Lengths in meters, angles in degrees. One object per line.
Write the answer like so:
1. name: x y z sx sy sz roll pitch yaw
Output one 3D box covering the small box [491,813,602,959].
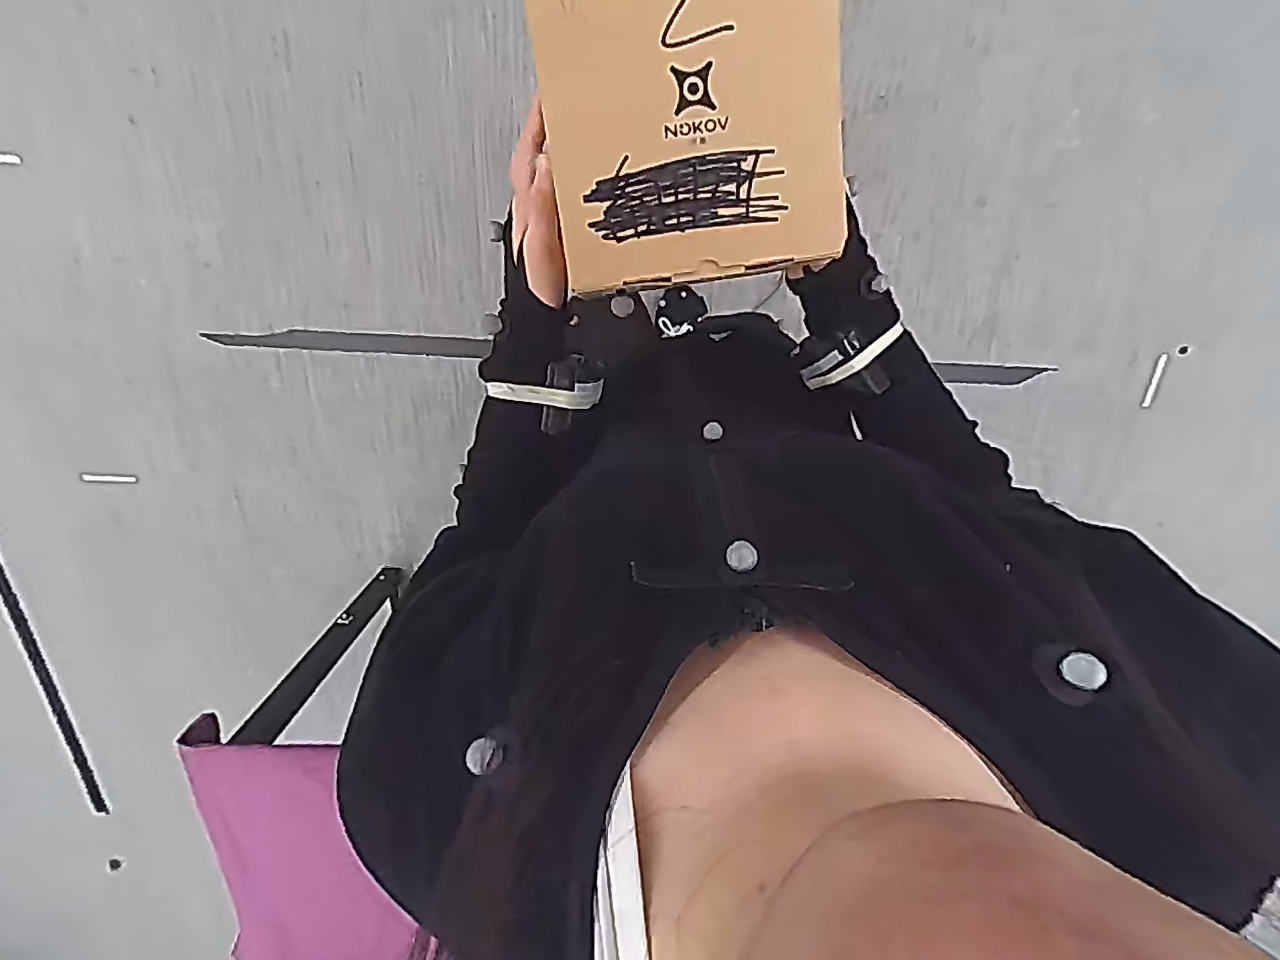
1. small box: -0.153 0.712 0.925 0.168 0.176 0.179 4 110 -3
